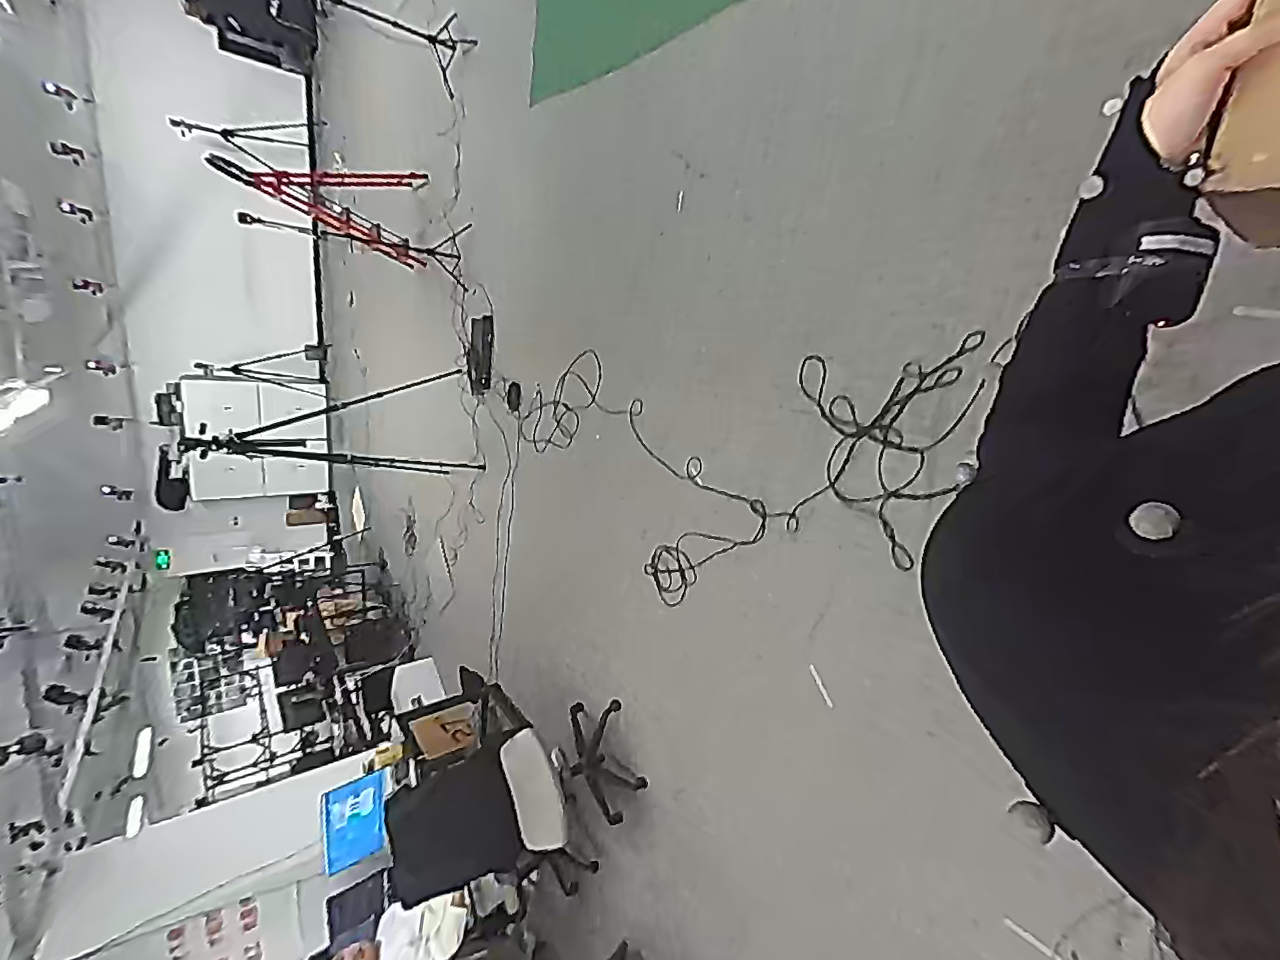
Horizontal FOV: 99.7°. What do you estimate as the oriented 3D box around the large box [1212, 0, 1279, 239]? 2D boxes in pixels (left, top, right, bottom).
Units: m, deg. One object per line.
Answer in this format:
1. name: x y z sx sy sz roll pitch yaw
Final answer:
1. large box: 0.661 -0.328 0.287 0.408 0.320 0.320 23 114 51
